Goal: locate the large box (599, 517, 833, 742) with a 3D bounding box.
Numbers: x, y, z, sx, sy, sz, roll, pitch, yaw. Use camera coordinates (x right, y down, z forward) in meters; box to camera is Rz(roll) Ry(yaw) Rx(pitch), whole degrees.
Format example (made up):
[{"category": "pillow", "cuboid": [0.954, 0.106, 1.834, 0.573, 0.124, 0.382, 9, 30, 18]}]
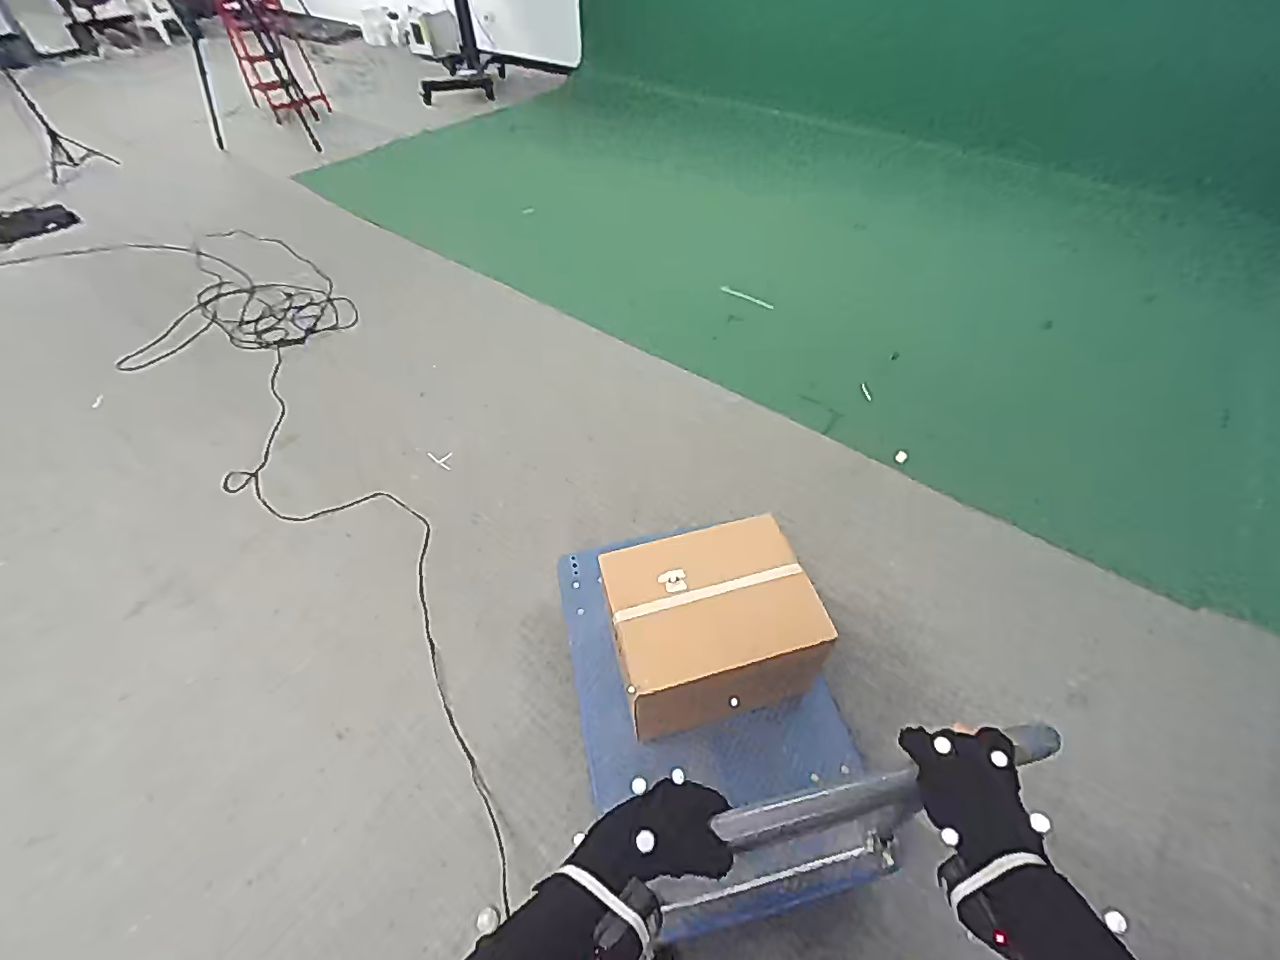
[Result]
[{"category": "large box", "cuboid": [0.147, 0.335, 1.212, 0.408, 0.320, 0.320, -14, 50, -9]}]
